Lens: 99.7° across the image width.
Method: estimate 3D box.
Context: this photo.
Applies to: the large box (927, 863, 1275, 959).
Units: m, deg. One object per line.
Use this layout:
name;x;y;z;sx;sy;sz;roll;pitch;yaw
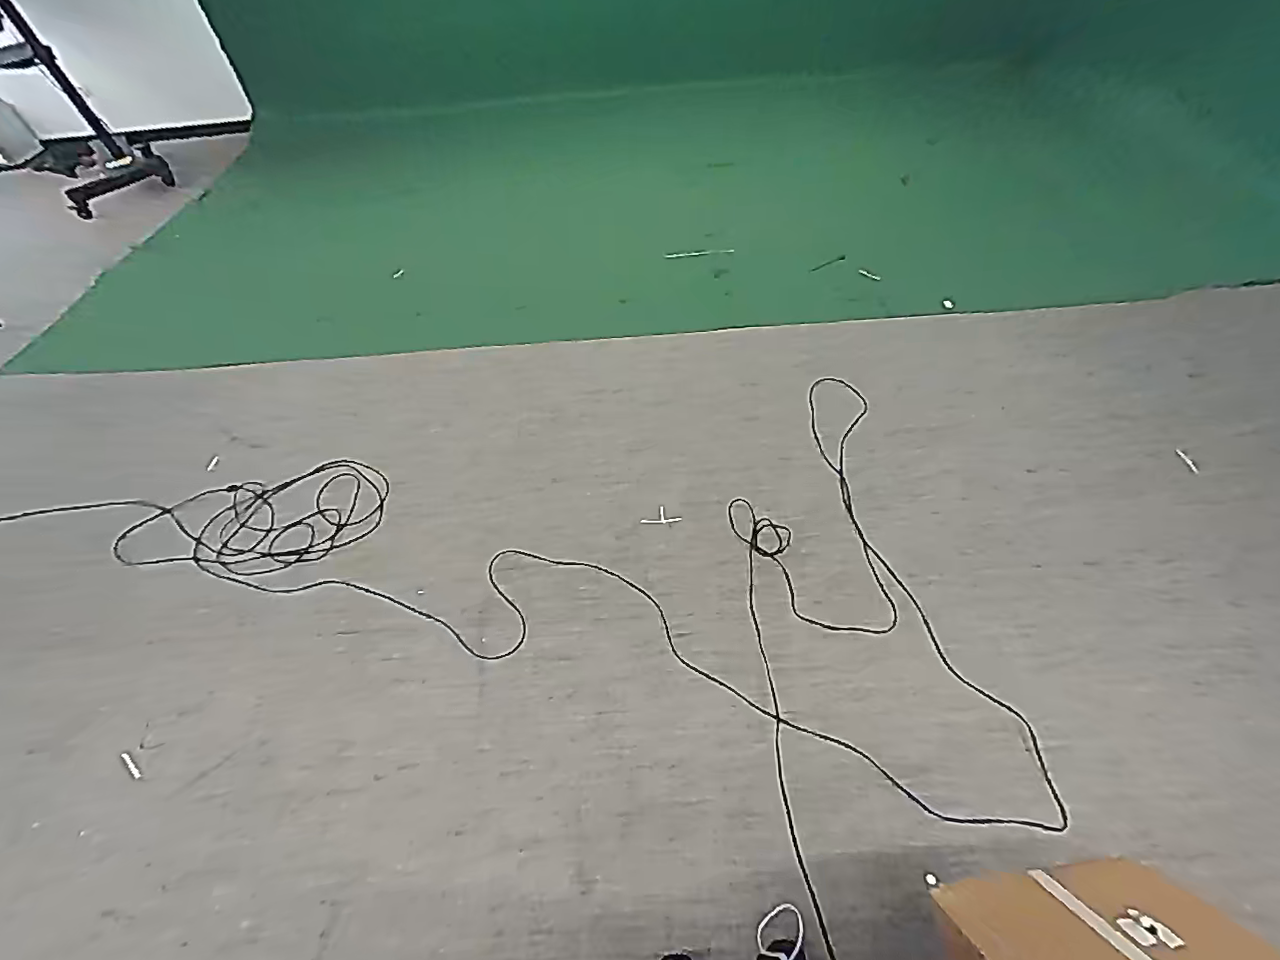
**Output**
large box;0.593;0.711;0.583;0.320;0.408;0.320;-6;84;-1
